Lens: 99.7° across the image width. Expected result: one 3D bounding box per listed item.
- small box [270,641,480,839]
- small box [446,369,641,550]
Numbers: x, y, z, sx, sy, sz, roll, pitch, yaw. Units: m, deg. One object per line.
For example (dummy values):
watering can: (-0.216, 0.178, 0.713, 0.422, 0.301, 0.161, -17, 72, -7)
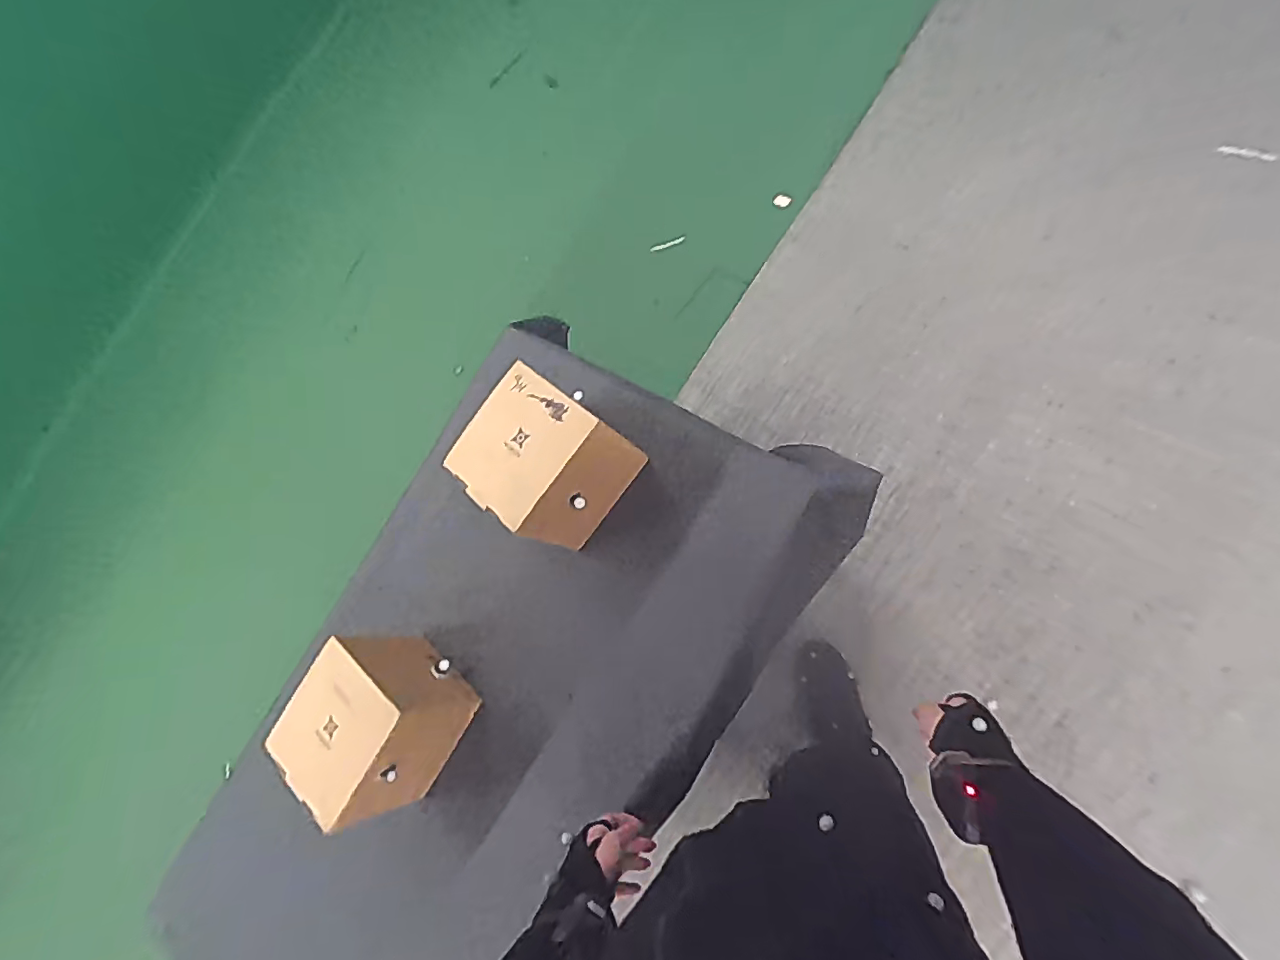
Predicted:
small box: (-0.363, 0.348, 0.764, 0.168, 0.176, 0.179, 30, 87, 26)
small box: (-0.127, -0.018, 0.762, 0.168, 0.176, 0.179, 38, 93, 26)
